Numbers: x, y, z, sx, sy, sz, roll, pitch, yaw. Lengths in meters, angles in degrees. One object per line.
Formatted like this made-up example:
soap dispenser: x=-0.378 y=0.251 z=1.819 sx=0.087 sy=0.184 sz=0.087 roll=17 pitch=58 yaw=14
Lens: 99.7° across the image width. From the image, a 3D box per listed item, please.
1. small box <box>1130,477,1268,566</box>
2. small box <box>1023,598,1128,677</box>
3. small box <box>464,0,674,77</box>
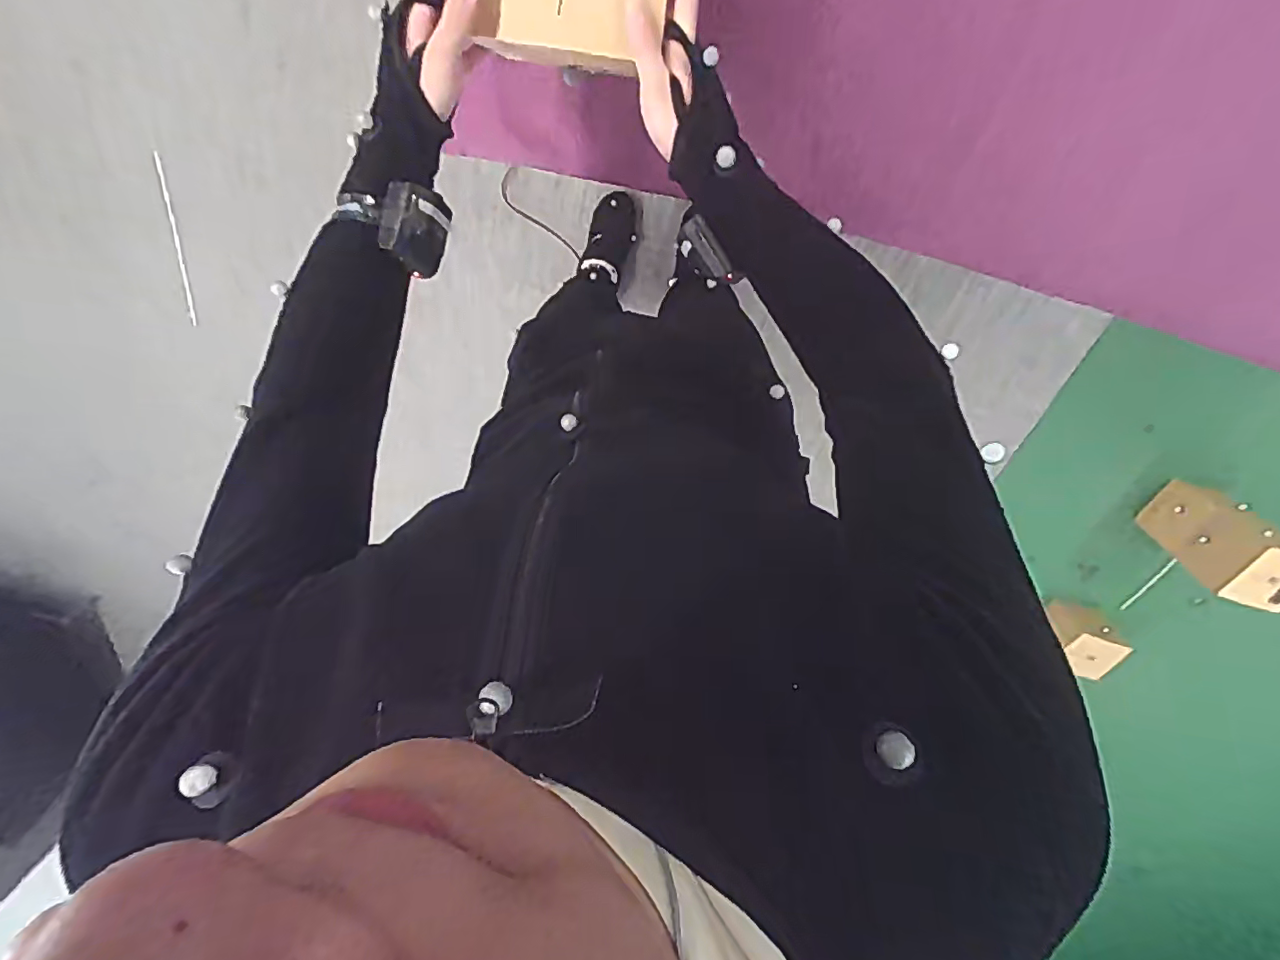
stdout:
small box: x=1.579 y=0.113 z=1.544 sx=0.179 sy=0.176 sz=0.168 roll=15 pitch=121 yaw=-3
small box: x=1.444 y=0.521 z=1.805 sx=0.179 sy=0.176 sz=0.168 roll=17 pitch=122 yaw=-3
small box: x=-0.048 y=-0.467 z=0.459 sx=0.168 sy=0.176 sz=0.179 roll=6 pitch=123 yaw=-4
